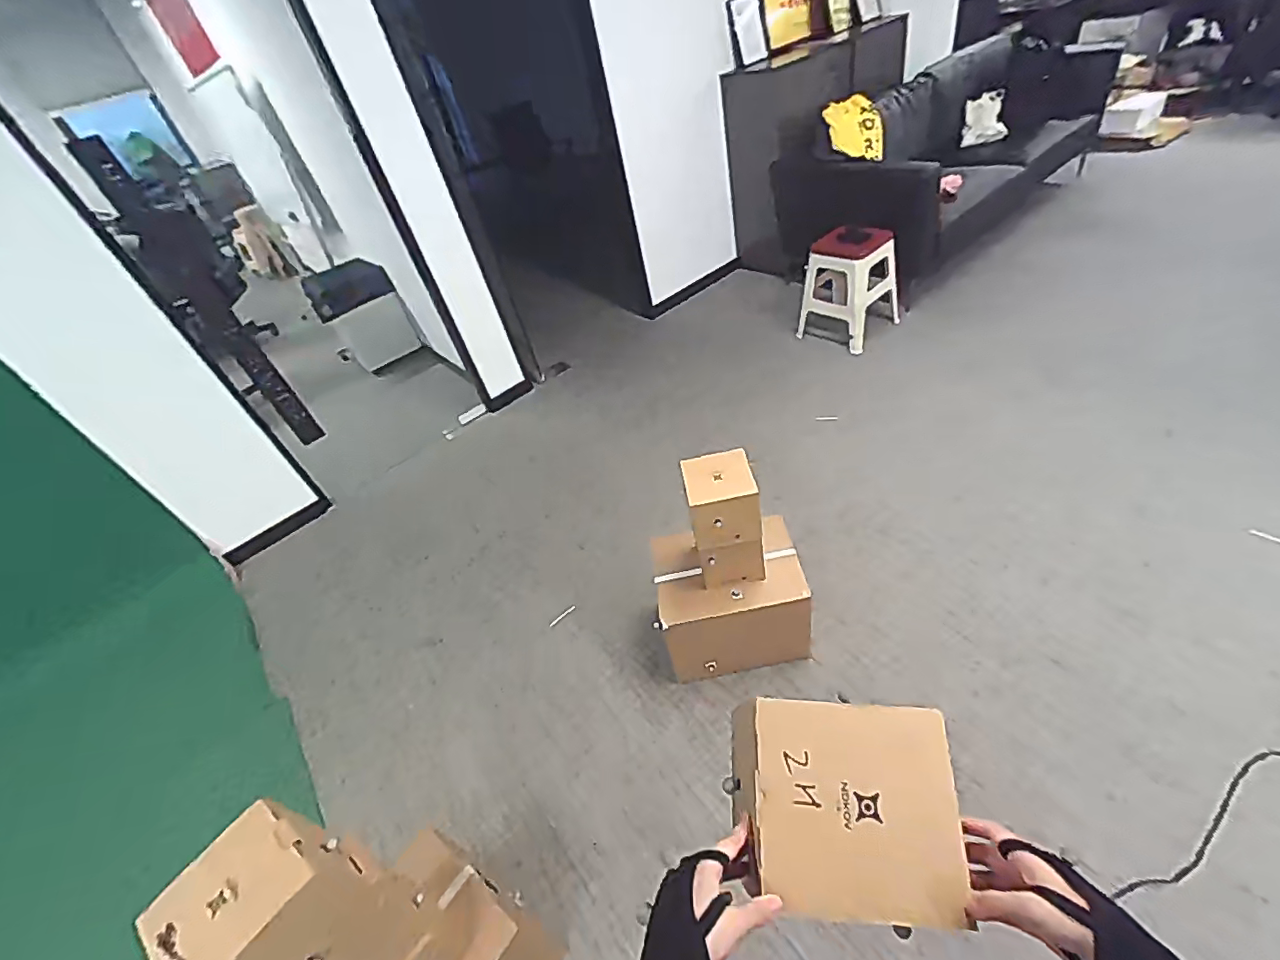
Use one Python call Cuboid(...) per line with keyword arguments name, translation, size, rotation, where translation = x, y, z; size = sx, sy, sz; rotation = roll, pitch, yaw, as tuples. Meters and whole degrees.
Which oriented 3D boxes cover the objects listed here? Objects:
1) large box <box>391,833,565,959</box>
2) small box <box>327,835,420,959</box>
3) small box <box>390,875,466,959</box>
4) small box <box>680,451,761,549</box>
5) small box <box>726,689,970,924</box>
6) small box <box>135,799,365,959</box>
Cuboid(name="large box", translation=(-0.423, 1.034, 1.086), size=(0.320, 0.320, 0.408), rotation=(18, 52, 35))
Cuboid(name="small box", translation=(-0.473, 0.709, 0.841), size=(0.168, 0.176, 0.179), rotation=(19, 51, 33))
Cuboid(name="small box", translation=(-0.439, 0.832, 0.943), size=(0.179, 0.176, 0.168), rotation=(20, 51, 34))
Cuboid(name="small box", translation=(0.204, 0.056, 1.363), size=(0.168, 0.176, 0.179), rotation=(-12, 39, 4))
Cuboid(name="small box", translation=(0.184, 0.309, 0.539), size=(0.179, 0.176, 0.168), rotation=(3, 64, 3))
Cuboid(name="small box", translation=(-0.510, 0.589, 0.735), size=(0.168, 0.176, 0.179), rotation=(19, 50, 34))
